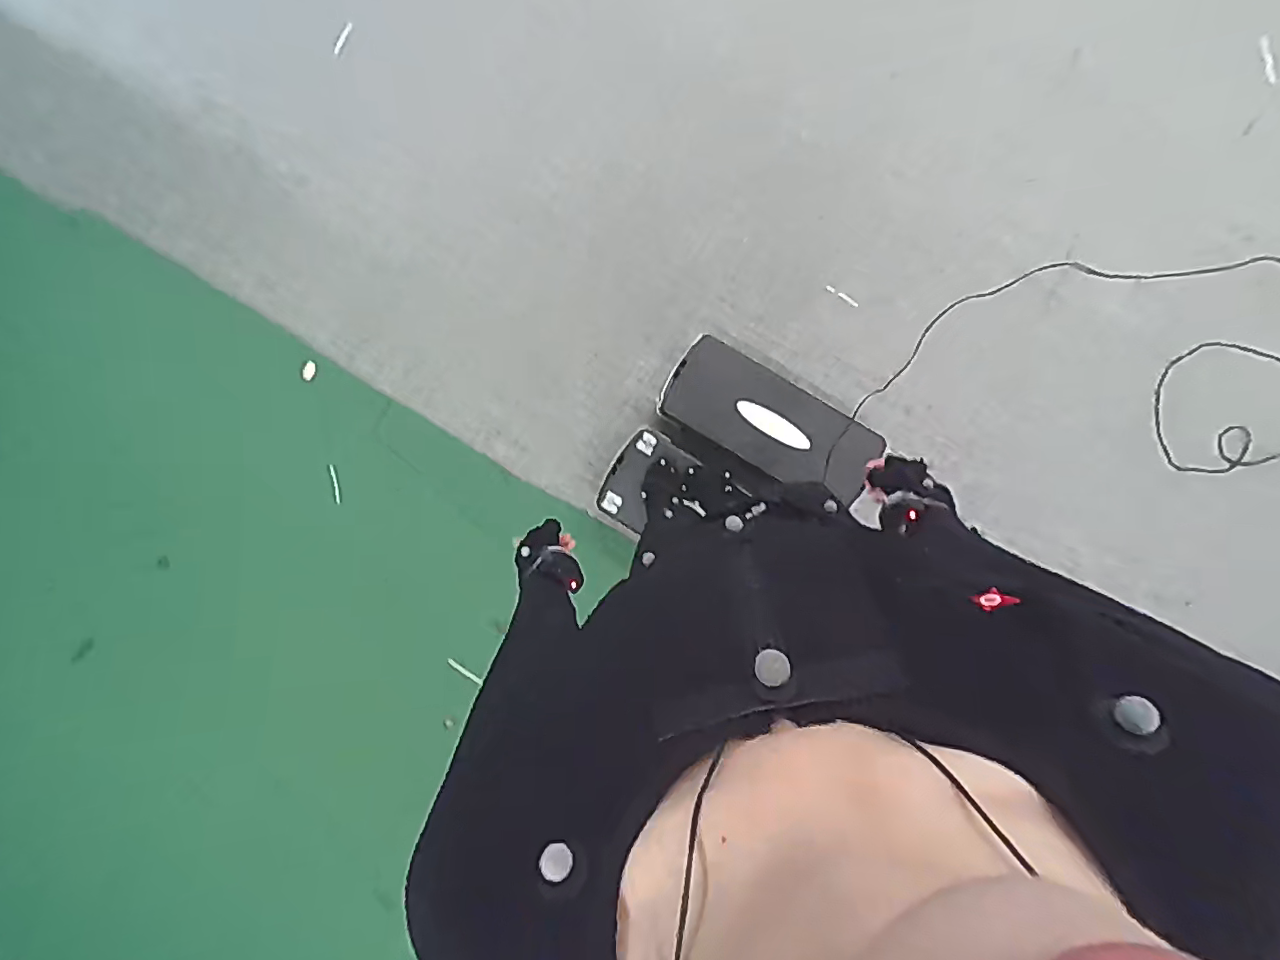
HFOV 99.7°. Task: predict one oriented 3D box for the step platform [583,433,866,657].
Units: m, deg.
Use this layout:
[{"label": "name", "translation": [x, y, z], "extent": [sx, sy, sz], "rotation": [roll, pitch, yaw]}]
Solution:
[{"label": "step platform", "translation": [0.204, 0.156, 1.395], "extent": [0.684, 0.204, 0.286], "rotation": [31, 92, 0]}]
